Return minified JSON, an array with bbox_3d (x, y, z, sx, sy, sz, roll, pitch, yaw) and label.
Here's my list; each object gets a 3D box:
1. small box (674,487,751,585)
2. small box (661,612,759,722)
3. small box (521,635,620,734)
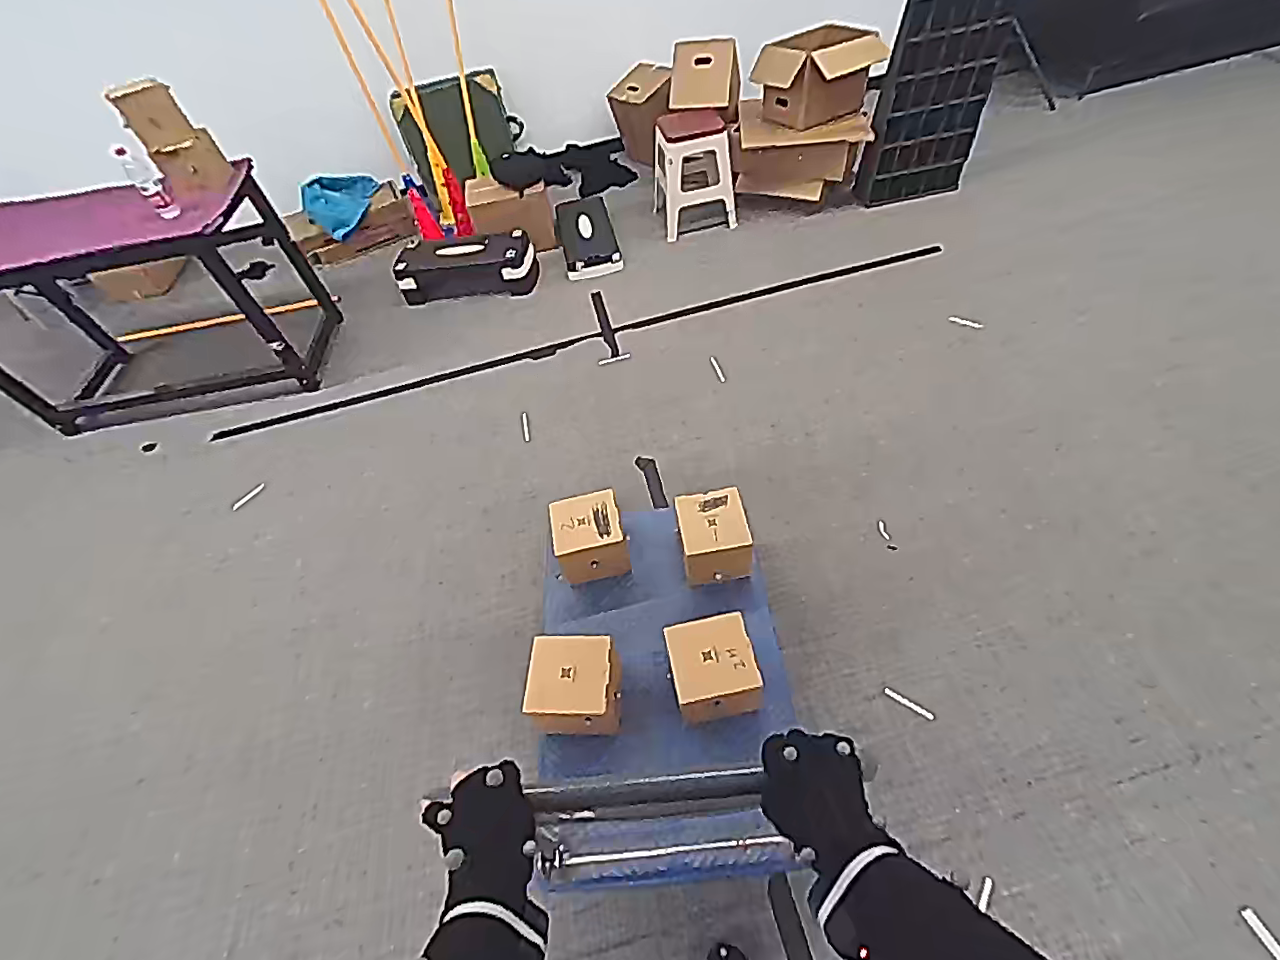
[{"bbox_3d":[0.183,0.146,1.393,0.168,0.176,0.179,-10,52,1],"label":"small box"},{"bbox_3d":[0.154,0.415,1.188,0.179,0.176,0.168,-12,52,0],"label":"small box"},{"bbox_3d":[-0.146,0.457,1.203,0.179,0.176,0.168,-2,52,6],"label":"small box"}]
